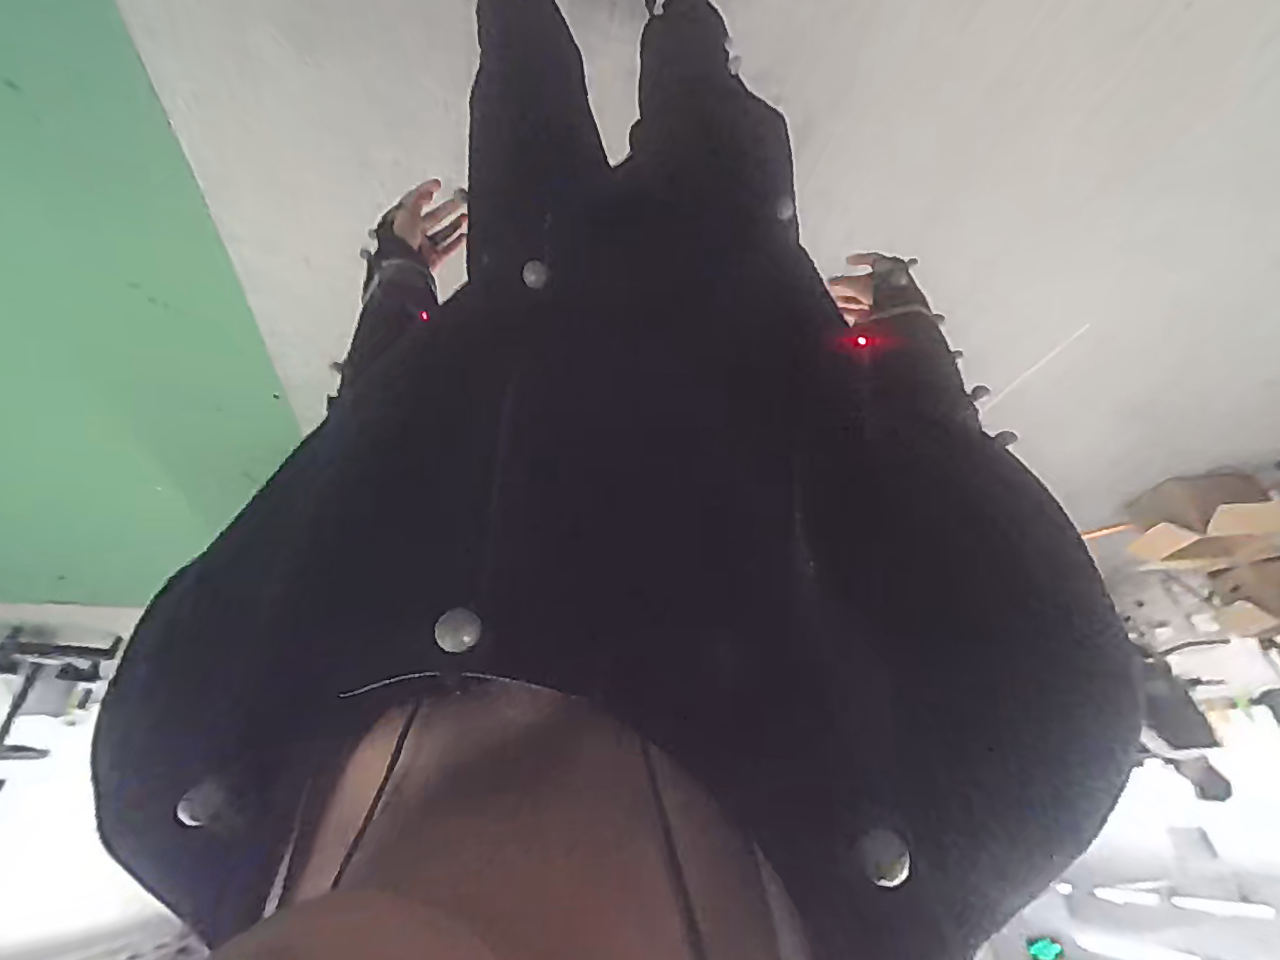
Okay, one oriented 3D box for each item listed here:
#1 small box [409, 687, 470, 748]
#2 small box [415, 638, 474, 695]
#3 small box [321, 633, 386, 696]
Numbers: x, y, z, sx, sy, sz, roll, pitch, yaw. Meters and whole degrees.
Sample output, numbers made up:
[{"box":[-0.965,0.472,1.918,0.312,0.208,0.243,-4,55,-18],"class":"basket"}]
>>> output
[{"box":[-0.670,0.797,1.816,0.179,0.176,0.168,7,148,-17],"class":"small box"},{"box":[-0.689,0.663,1.909,0.179,0.176,0.168,9,147,-17],"class":"small box"},{"box":[-0.967,0.626,1.830,0.168,0.176,0.179,10,146,-21],"class":"small box"}]
